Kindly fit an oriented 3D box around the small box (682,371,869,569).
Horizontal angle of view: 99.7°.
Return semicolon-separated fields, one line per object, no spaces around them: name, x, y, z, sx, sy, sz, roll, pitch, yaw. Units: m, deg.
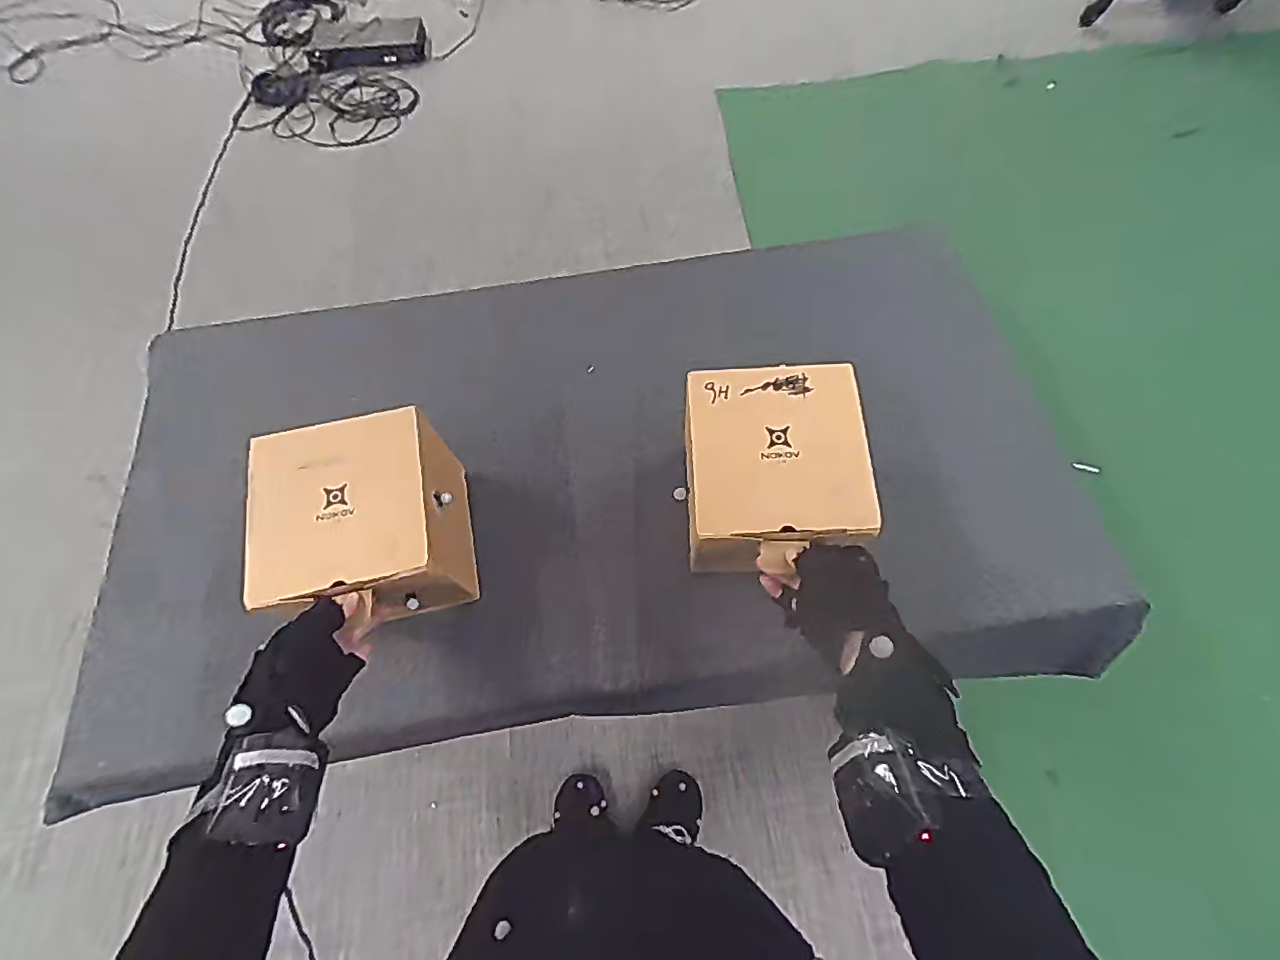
small box;0.133;0.001;0.597;0.168;0.176;0.179;-3;70;3

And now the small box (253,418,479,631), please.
small box;-0.290;0.061;0.601;0.168;0.176;0.179;-14;67;-5
